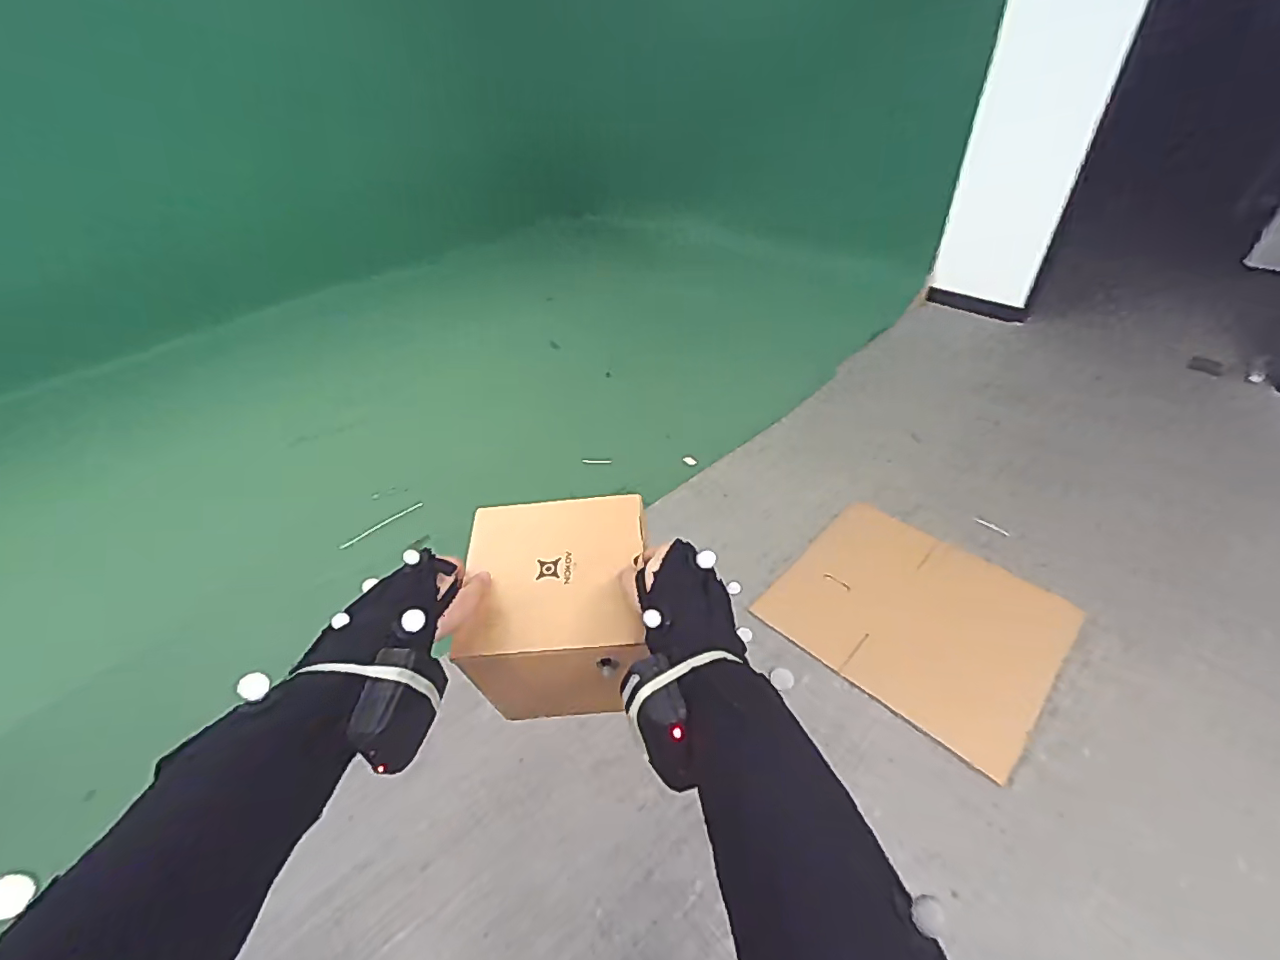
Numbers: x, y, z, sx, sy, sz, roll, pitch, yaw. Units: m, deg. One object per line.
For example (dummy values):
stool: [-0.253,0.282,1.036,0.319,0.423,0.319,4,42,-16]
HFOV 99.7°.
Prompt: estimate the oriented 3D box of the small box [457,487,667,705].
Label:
small box: [-0.068,0.128,0.574,0.179,0.176,0.168,-5,49,3]
